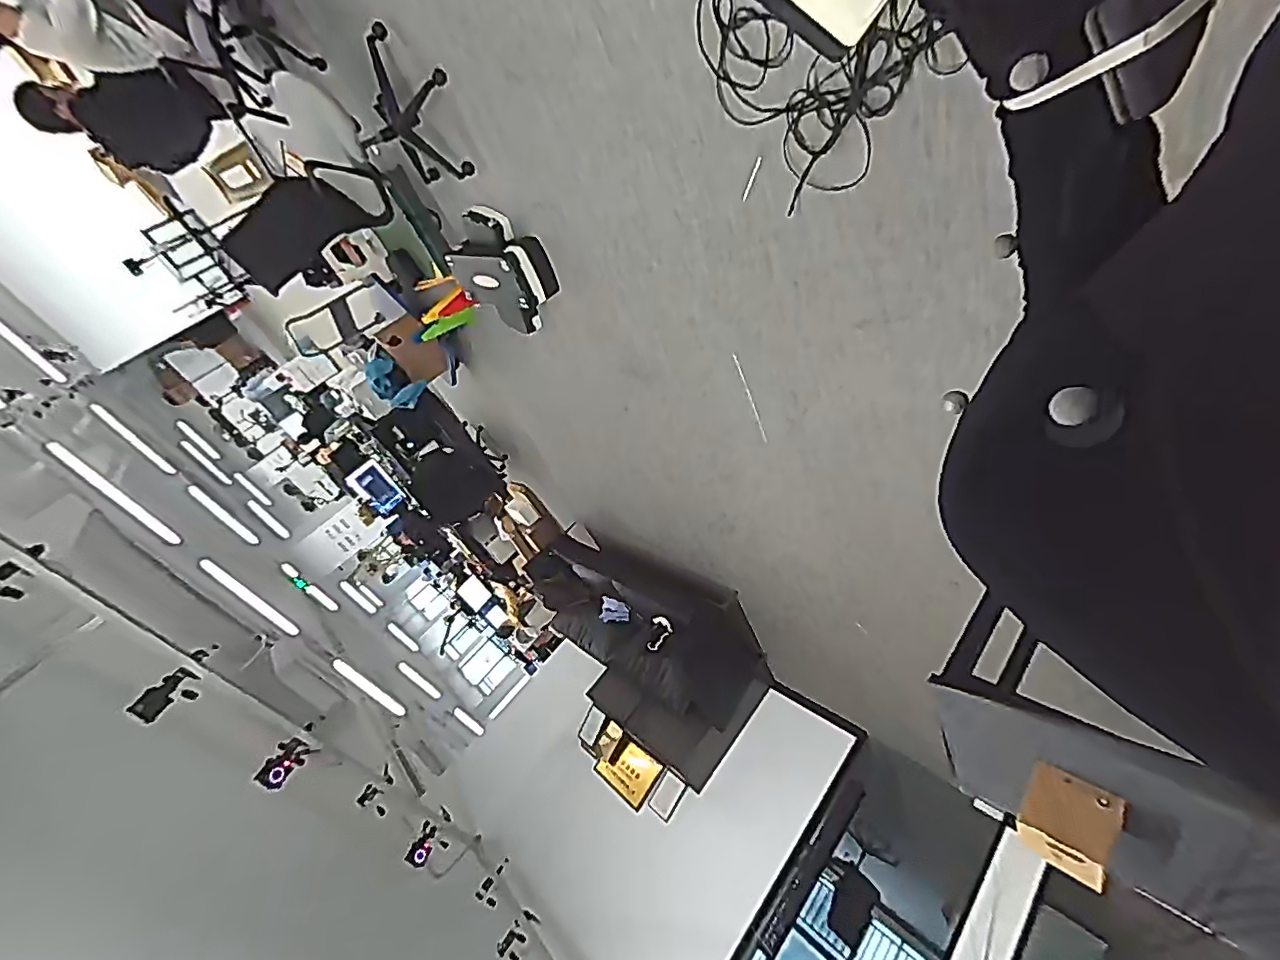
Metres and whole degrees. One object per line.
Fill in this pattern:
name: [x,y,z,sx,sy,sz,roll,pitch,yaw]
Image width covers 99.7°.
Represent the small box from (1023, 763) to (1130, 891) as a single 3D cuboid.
small box: [1.041,0.820,1.293,0.168,0.176,0.179,16,144,48]
